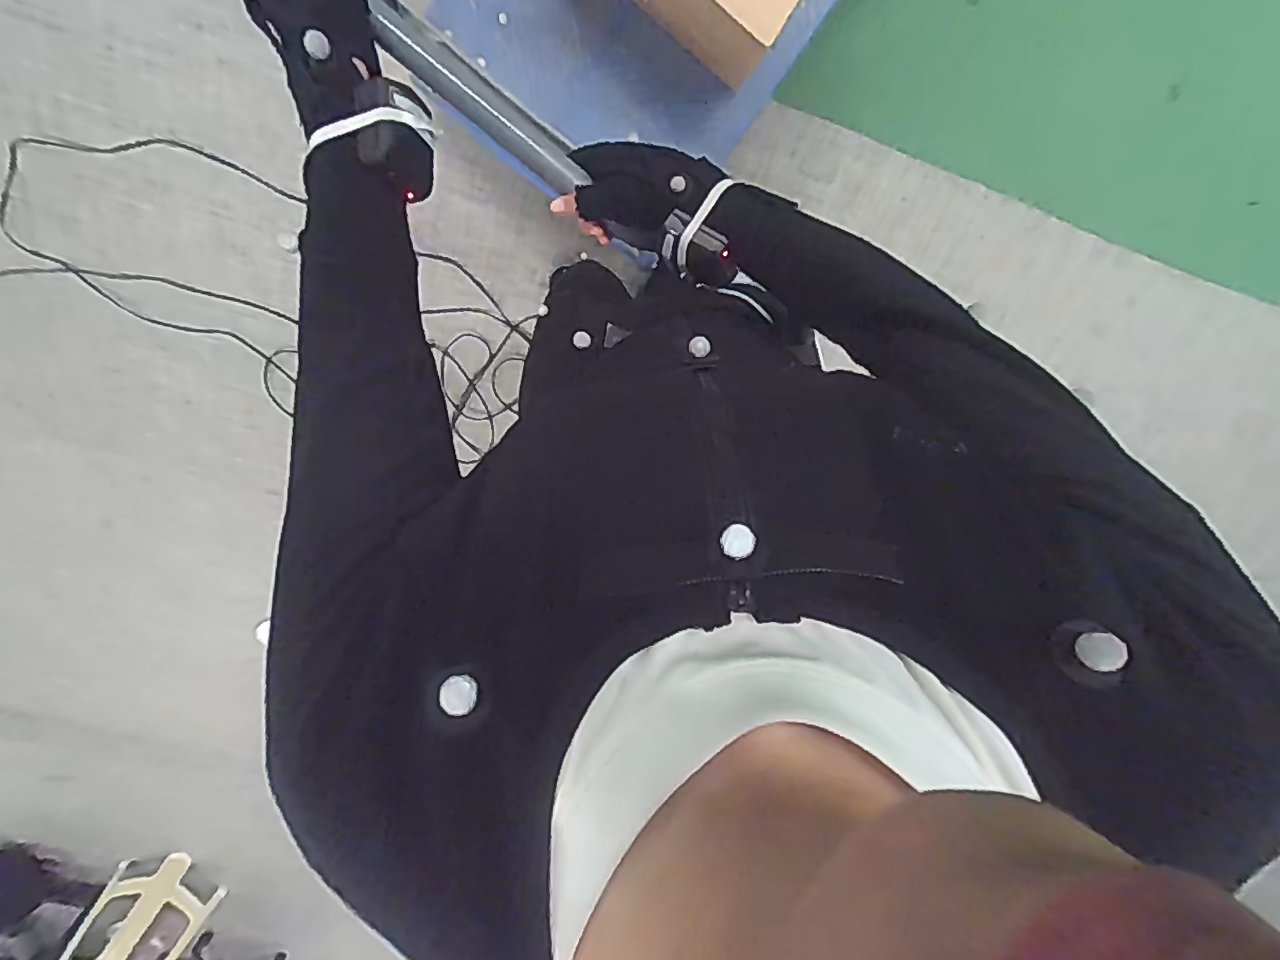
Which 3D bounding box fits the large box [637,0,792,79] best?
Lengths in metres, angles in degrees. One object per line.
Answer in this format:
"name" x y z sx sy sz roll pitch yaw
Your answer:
"large box" 0.095 -0.888 0.782 0.408 0.320 0.320 31 113 -13
